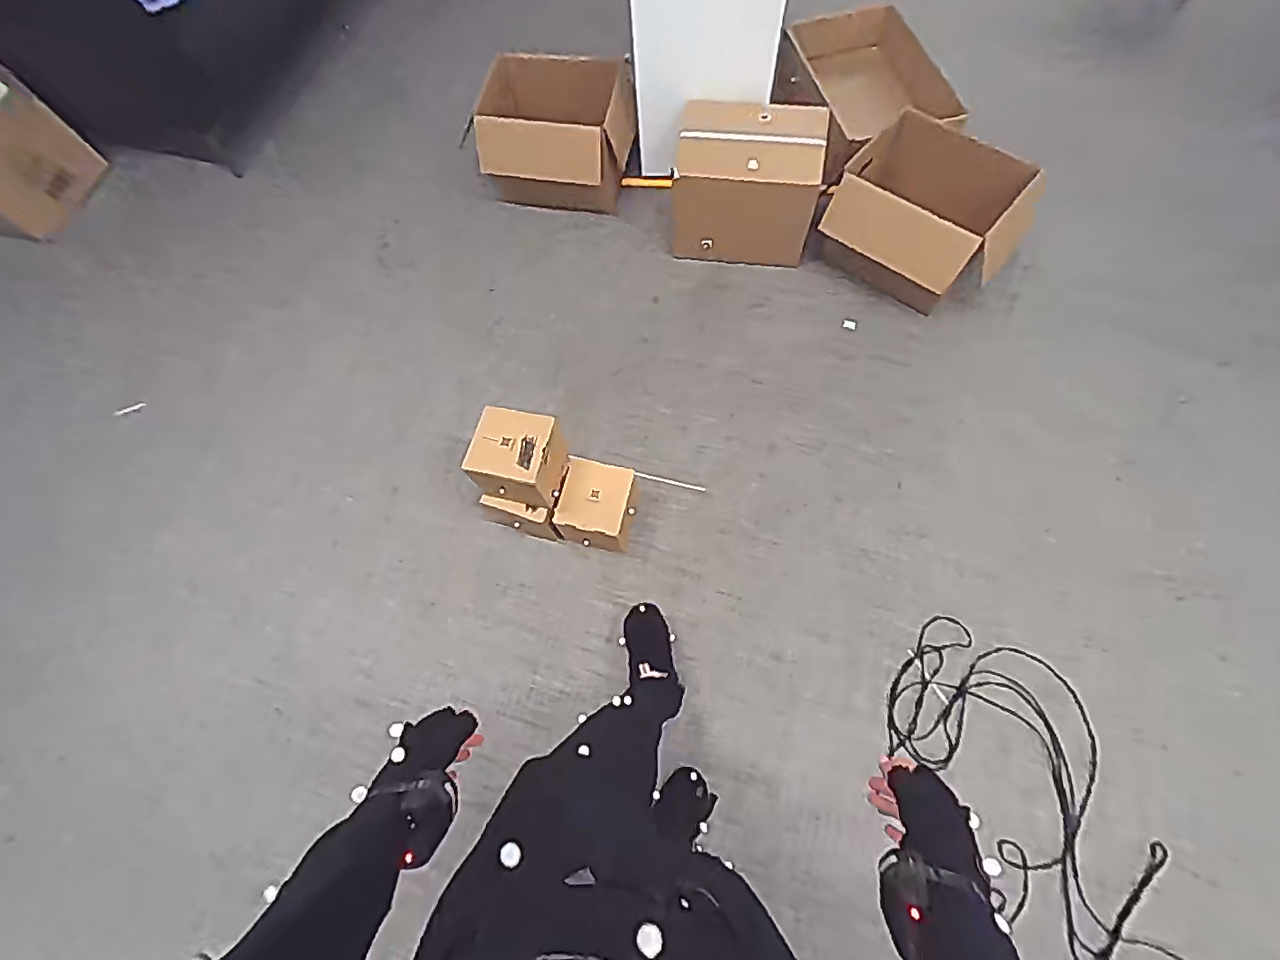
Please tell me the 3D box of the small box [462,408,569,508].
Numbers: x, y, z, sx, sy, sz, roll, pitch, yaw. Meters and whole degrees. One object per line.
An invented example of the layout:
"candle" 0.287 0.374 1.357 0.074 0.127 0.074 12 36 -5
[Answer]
"small box" -0.280 -0.045 1.269 0.179 0.176 0.168 12 69 10
